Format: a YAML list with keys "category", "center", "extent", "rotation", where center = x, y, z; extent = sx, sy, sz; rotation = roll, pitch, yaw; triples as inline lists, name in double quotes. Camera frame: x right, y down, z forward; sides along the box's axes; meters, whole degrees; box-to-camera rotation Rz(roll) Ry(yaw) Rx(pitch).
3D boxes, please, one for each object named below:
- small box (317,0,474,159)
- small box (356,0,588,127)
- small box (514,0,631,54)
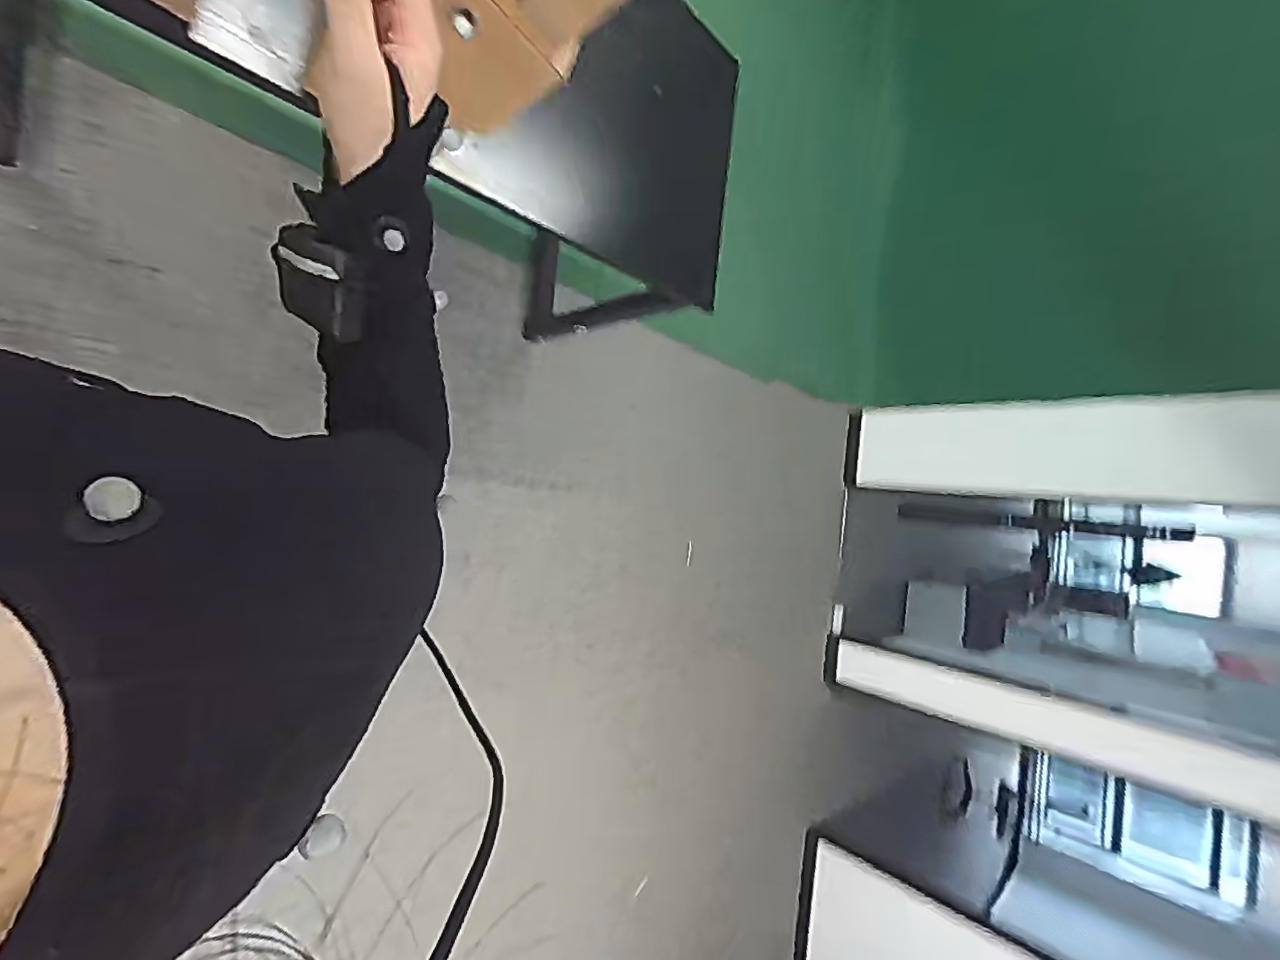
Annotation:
- category: "small box"
  center: [-0.282, -0.549, 0.678]
  extent: [0.168, 0.176, 0.179]
  rotation: [16, 82, -45]
- category: "small box"
  center: [-0.162, -0.516, 0.572]
  extent: [0.179, 0.176, 0.168]
  rotation: [27, 75, -43]
- category: "small box"
  center: [-0.049, -0.521, 0.452]
  extent: [0.168, 0.176, 0.179]
  rotation: [30, 74, -41]
